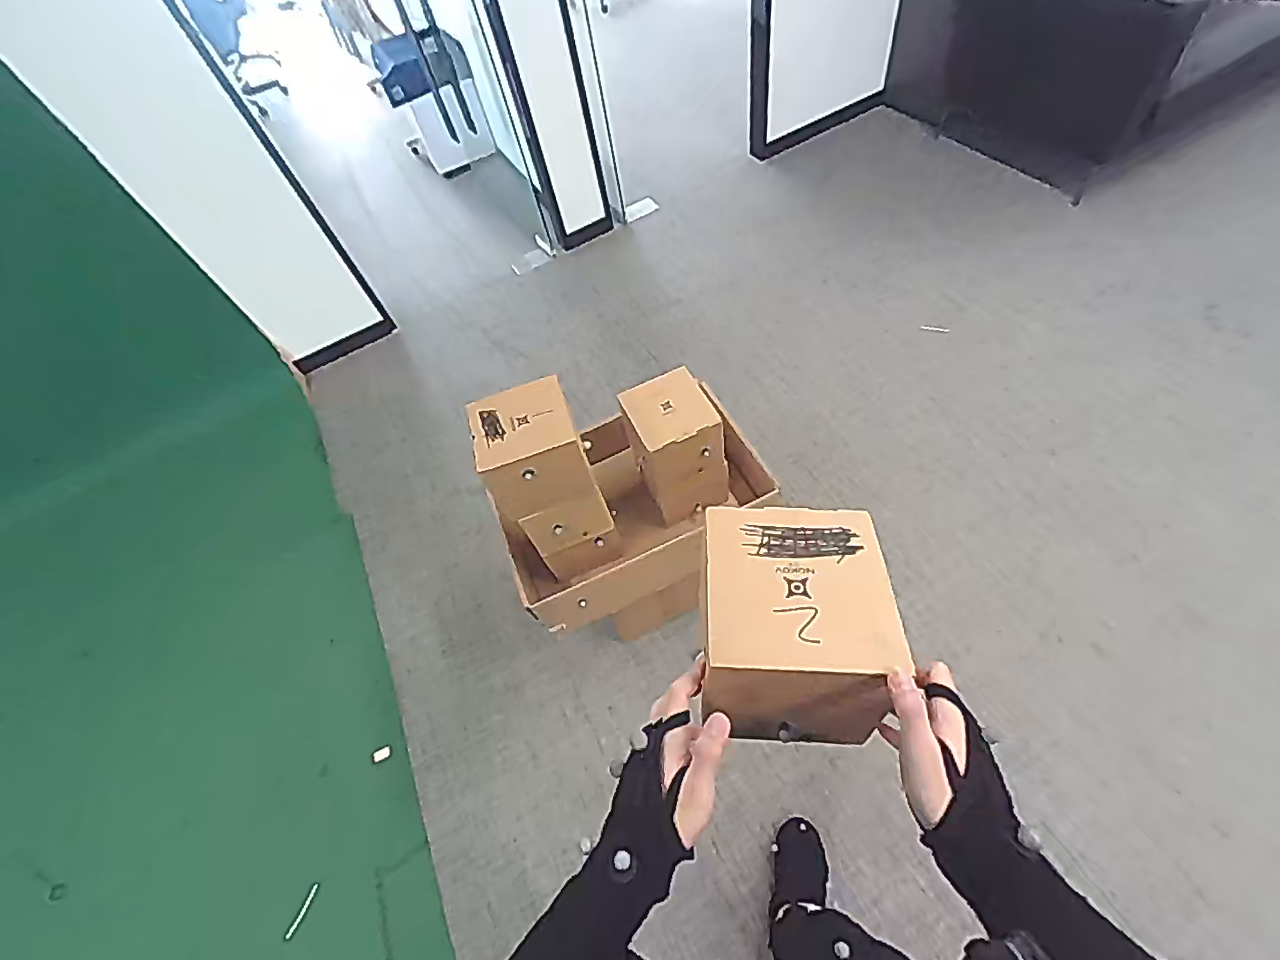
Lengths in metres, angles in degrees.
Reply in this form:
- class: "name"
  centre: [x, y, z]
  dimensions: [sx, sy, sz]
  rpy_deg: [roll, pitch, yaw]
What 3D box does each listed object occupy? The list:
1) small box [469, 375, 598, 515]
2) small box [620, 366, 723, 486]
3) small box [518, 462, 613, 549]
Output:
- class: "small box"
  centre: [-0.194, -0.058, 1.001]
  dimensions: [0.179, 0.176, 0.168]
  rpy_deg: [-19, 56, -3]
- class: "small box"
  centre: [0.074, -0.109, 1.178]
  dimensions: [0.168, 0.176, 0.179]
  rpy_deg: [-24, 56, -6]
- class: "small box"
  centre: [-0.167, 0.026, 1.139]
  dimensions: [0.168, 0.176, 0.179]
  rpy_deg: [-22, 56, -4]
